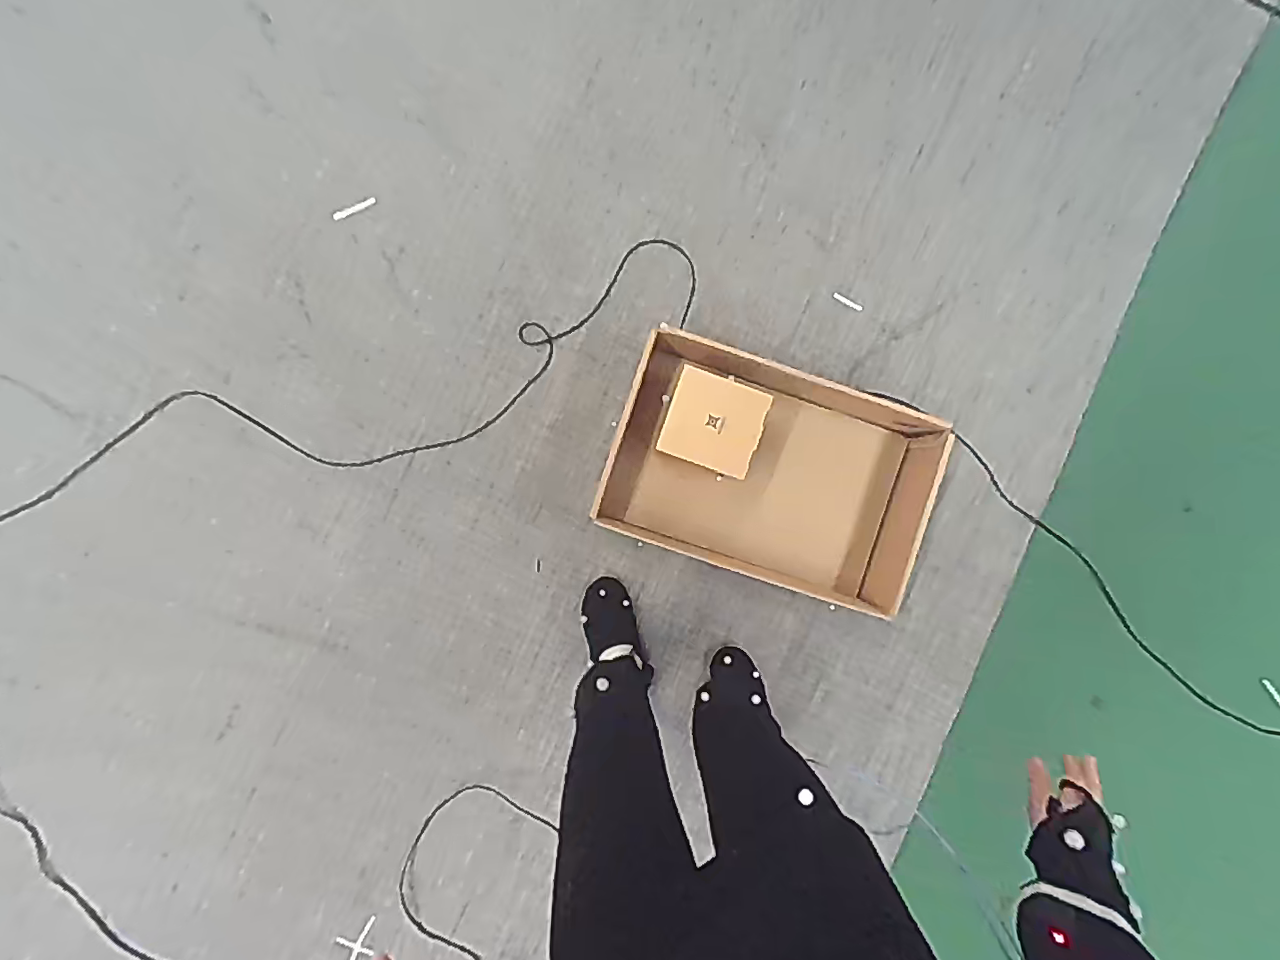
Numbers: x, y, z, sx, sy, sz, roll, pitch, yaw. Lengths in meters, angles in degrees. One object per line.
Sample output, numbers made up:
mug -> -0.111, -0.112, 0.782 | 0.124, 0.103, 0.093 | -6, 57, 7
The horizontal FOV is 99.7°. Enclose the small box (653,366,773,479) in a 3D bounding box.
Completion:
small box -> 0.131, -0.105, 1.060 | 0.179, 0.176, 0.168 | 19, 90, -4
